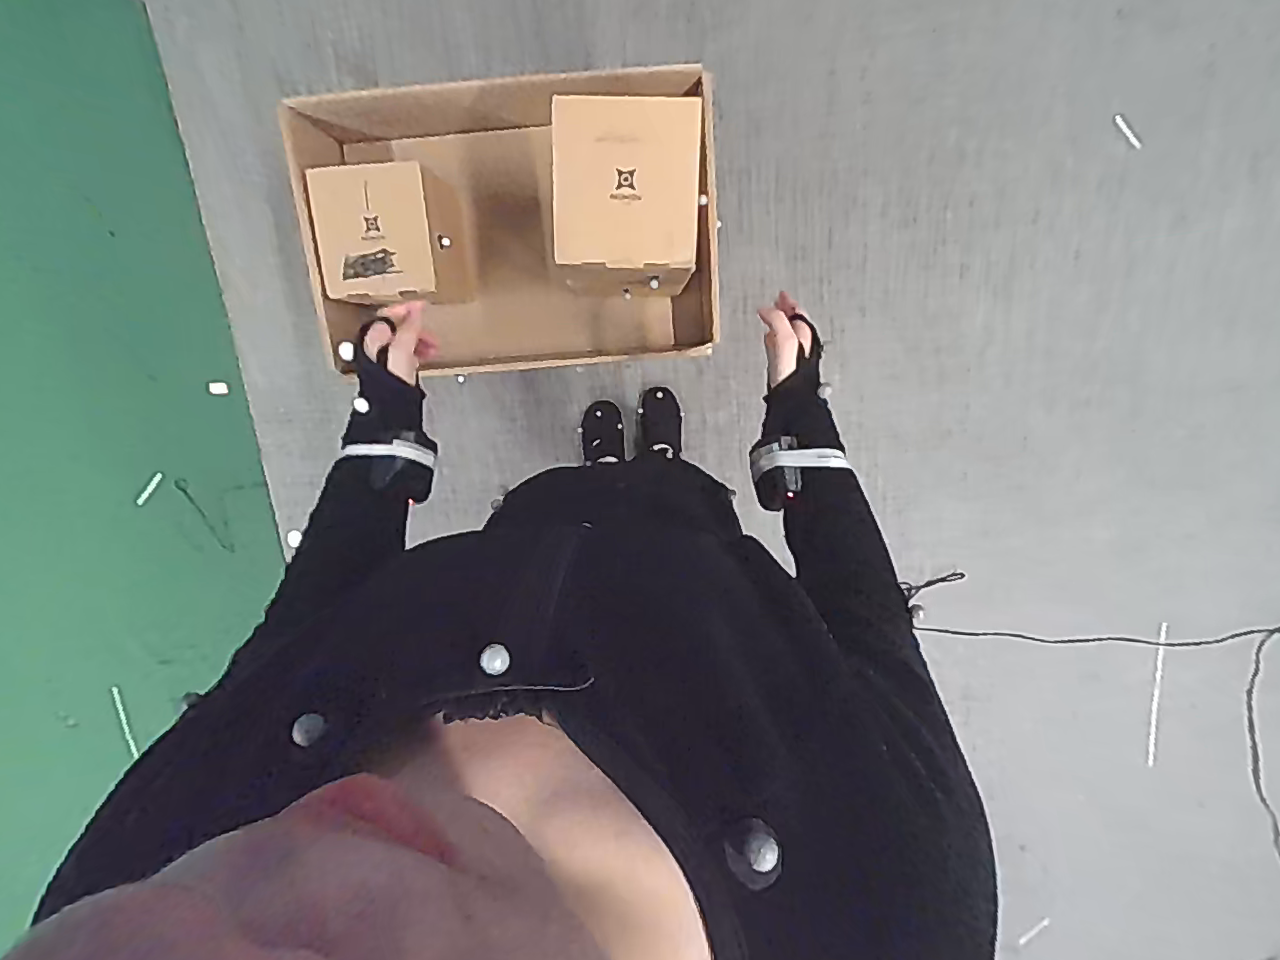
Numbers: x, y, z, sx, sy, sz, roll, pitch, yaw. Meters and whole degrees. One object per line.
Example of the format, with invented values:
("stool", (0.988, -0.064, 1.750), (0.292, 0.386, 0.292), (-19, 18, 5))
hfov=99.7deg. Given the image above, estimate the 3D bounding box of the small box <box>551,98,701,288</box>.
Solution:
("small box", (-0.016, -0.345, 0.685), (0.168, 0.176, 0.179), (2, 102, 0))
